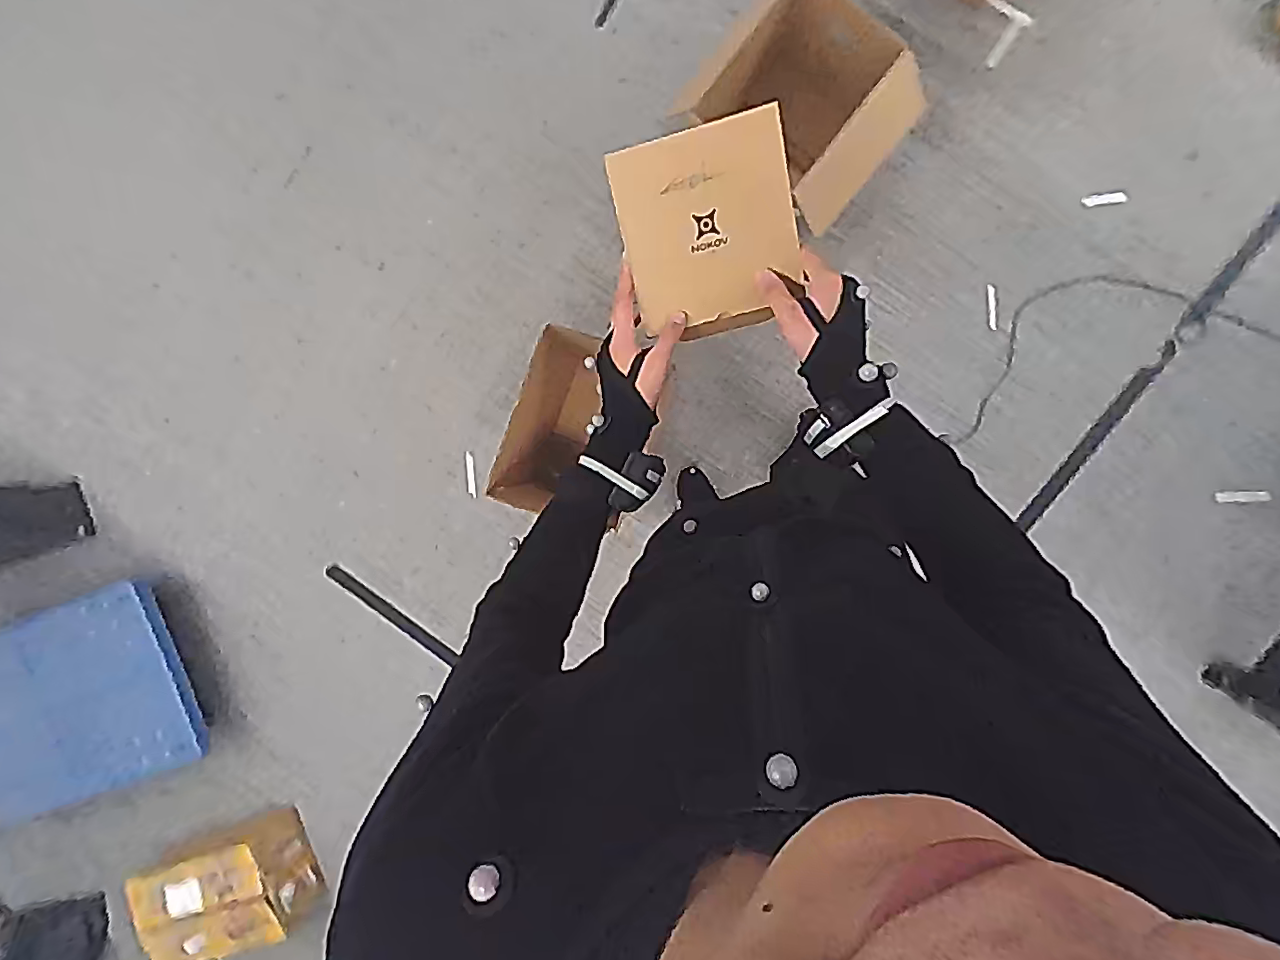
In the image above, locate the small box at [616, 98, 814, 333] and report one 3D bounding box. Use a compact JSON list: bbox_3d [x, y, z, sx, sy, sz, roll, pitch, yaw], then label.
[{"bbox_3d":[0.081,-0.268,0.585,0.168,0.176,0.179,-10,107,8],"label":"small box"}]
